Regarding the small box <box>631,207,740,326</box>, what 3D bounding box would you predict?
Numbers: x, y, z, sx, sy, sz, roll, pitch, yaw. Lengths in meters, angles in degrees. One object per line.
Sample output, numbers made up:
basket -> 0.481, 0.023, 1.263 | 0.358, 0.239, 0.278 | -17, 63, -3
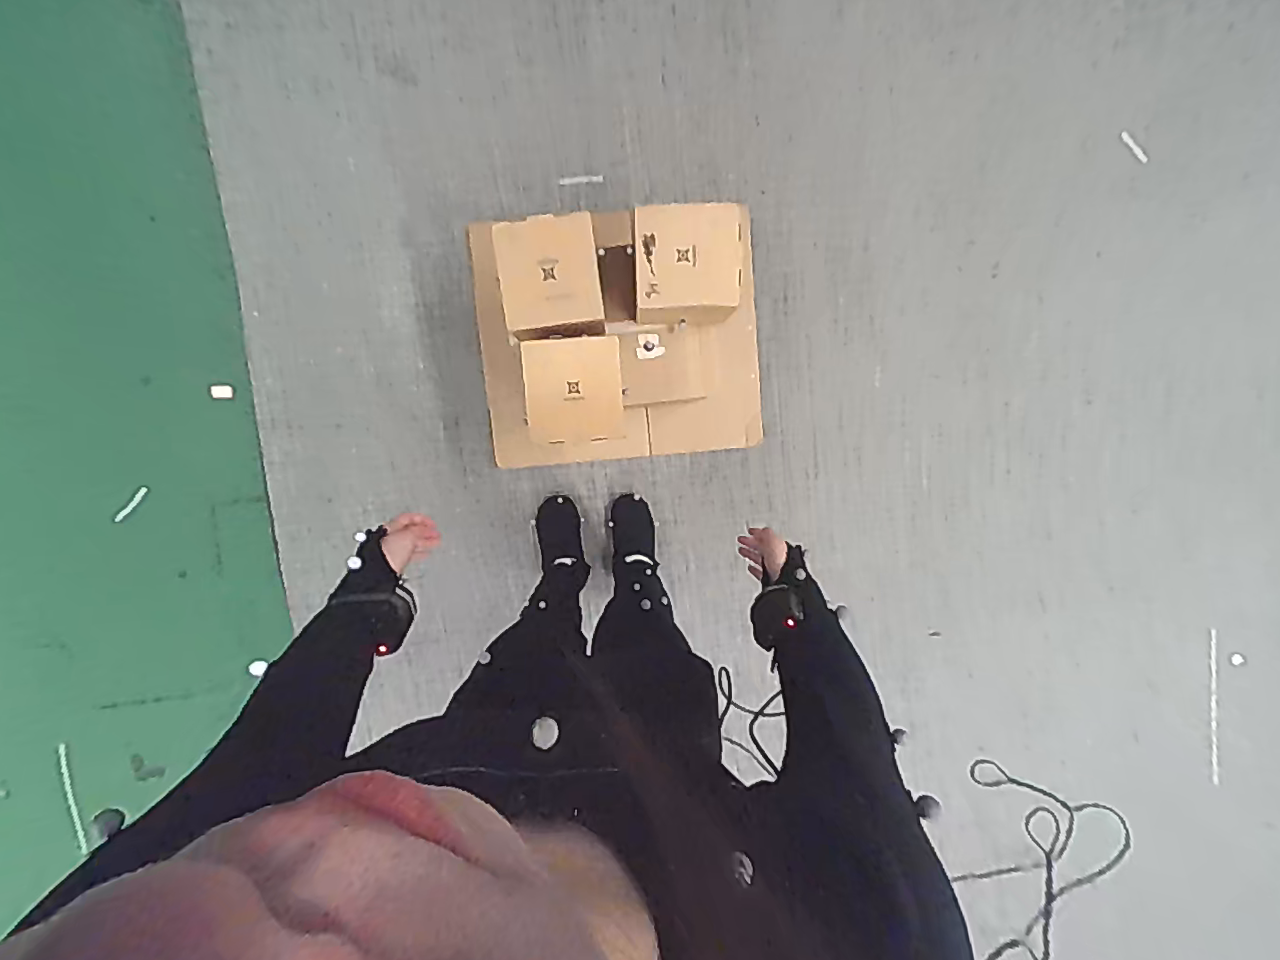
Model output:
small box -> 0.075, -0.375, 0.972 | 0.179, 0.176, 0.168 | -1, 96, -2

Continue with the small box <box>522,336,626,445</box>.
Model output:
small box -> -0.117, -0.160, 0.990 | 0.168, 0.176, 0.179 | -5, 98, -3
